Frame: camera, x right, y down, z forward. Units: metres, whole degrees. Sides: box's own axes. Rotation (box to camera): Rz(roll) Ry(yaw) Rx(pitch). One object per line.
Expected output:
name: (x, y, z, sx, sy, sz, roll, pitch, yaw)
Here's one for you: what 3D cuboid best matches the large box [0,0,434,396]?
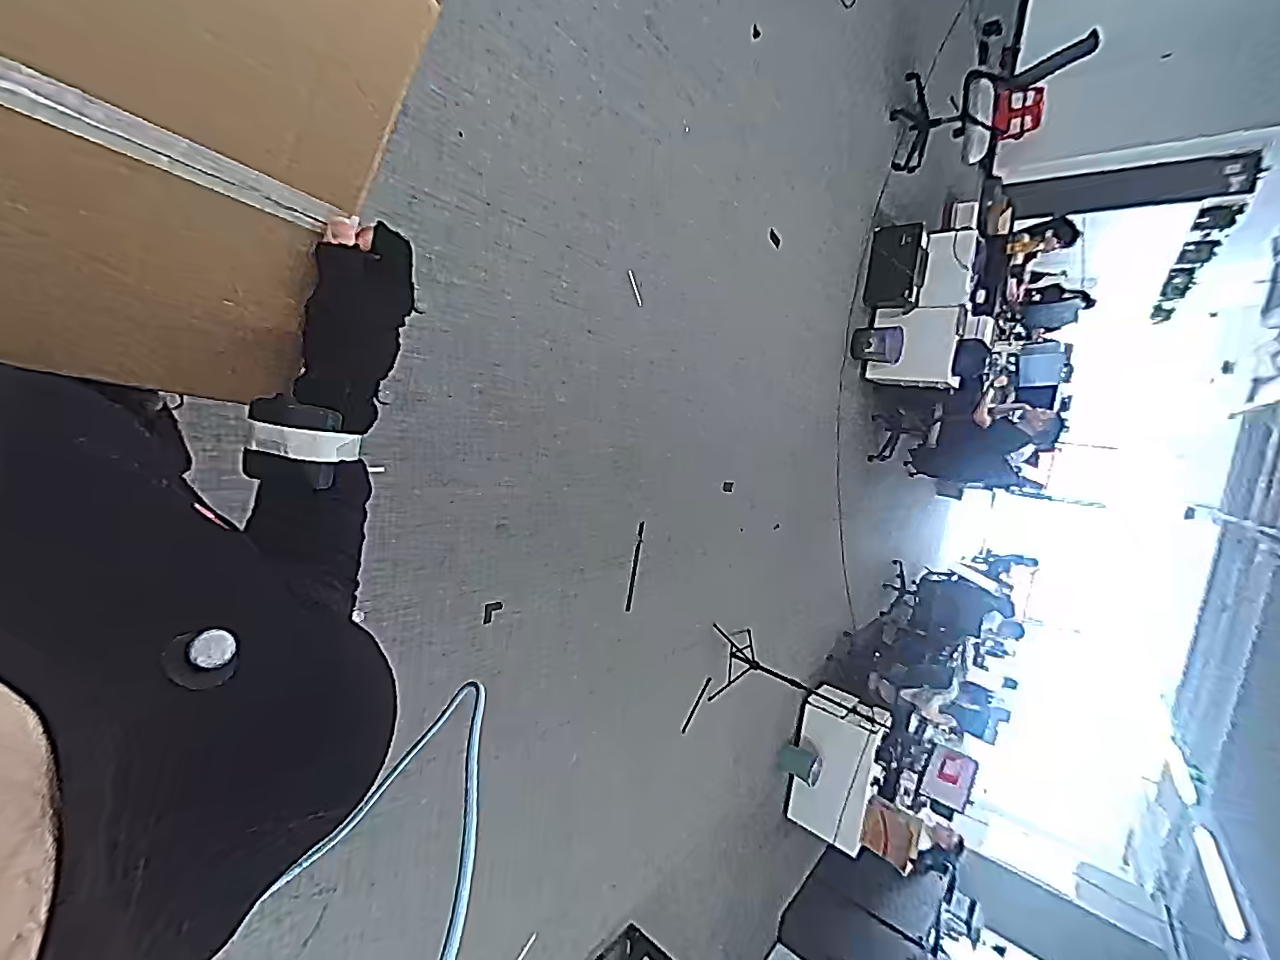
large box: (-0.413, -0.291, 0.308, 0.408, 0.320, 0.320, 7, 126, -51)
